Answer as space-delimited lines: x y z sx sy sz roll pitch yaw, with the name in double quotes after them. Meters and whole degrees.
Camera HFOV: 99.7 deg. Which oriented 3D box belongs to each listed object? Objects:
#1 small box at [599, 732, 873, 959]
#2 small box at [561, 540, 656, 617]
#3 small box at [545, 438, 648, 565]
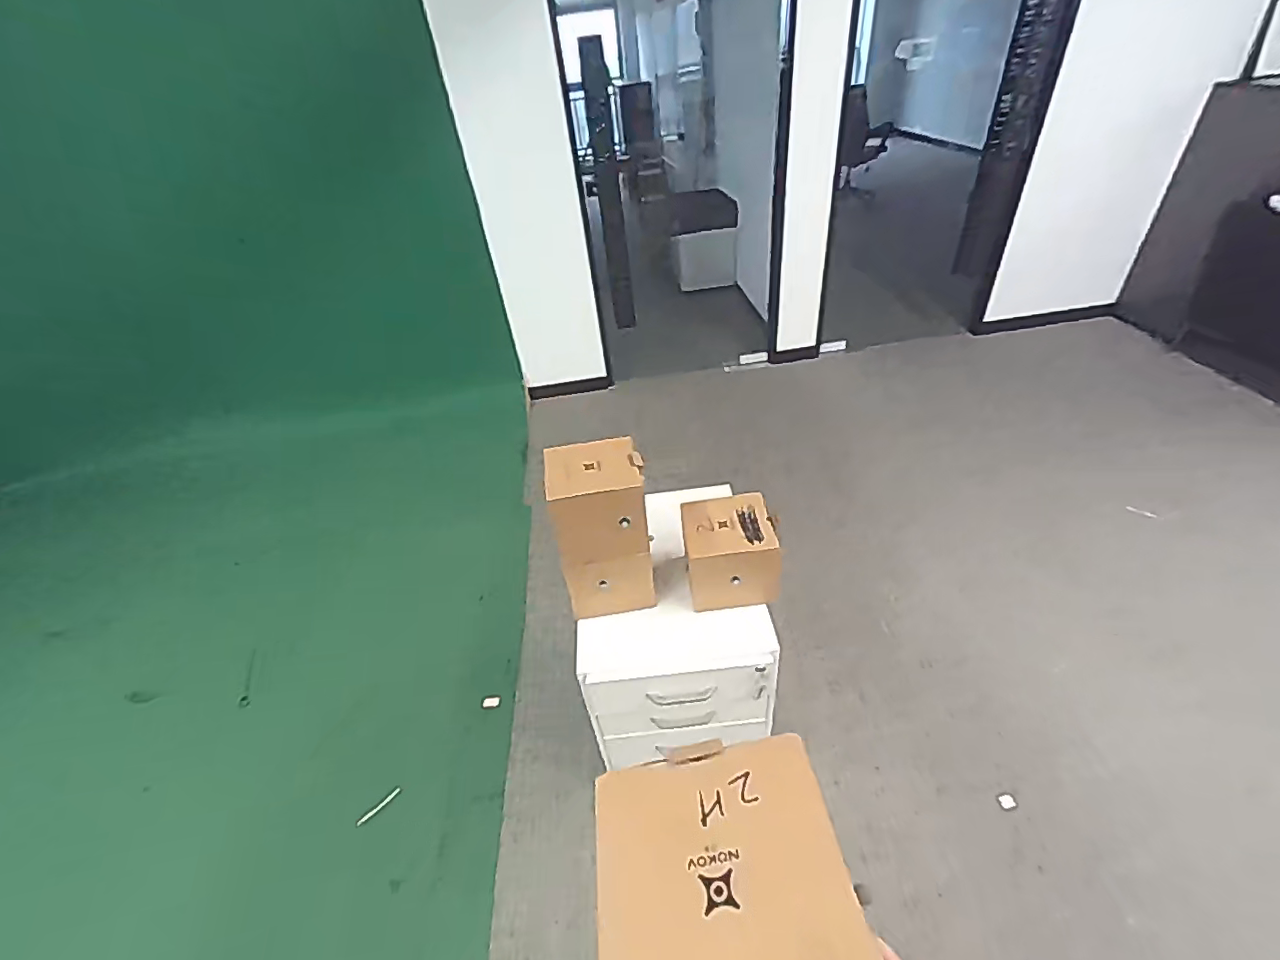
0.069 0.328 0.403 0.168 0.176 0.179 -13 32 3 "small box"
-0.069 0.170 1.150 0.179 0.176 0.168 -9 39 -3 "small box"
-0.082 0.043 1.050 0.179 0.176 0.168 -10 38 -5 "small box"
